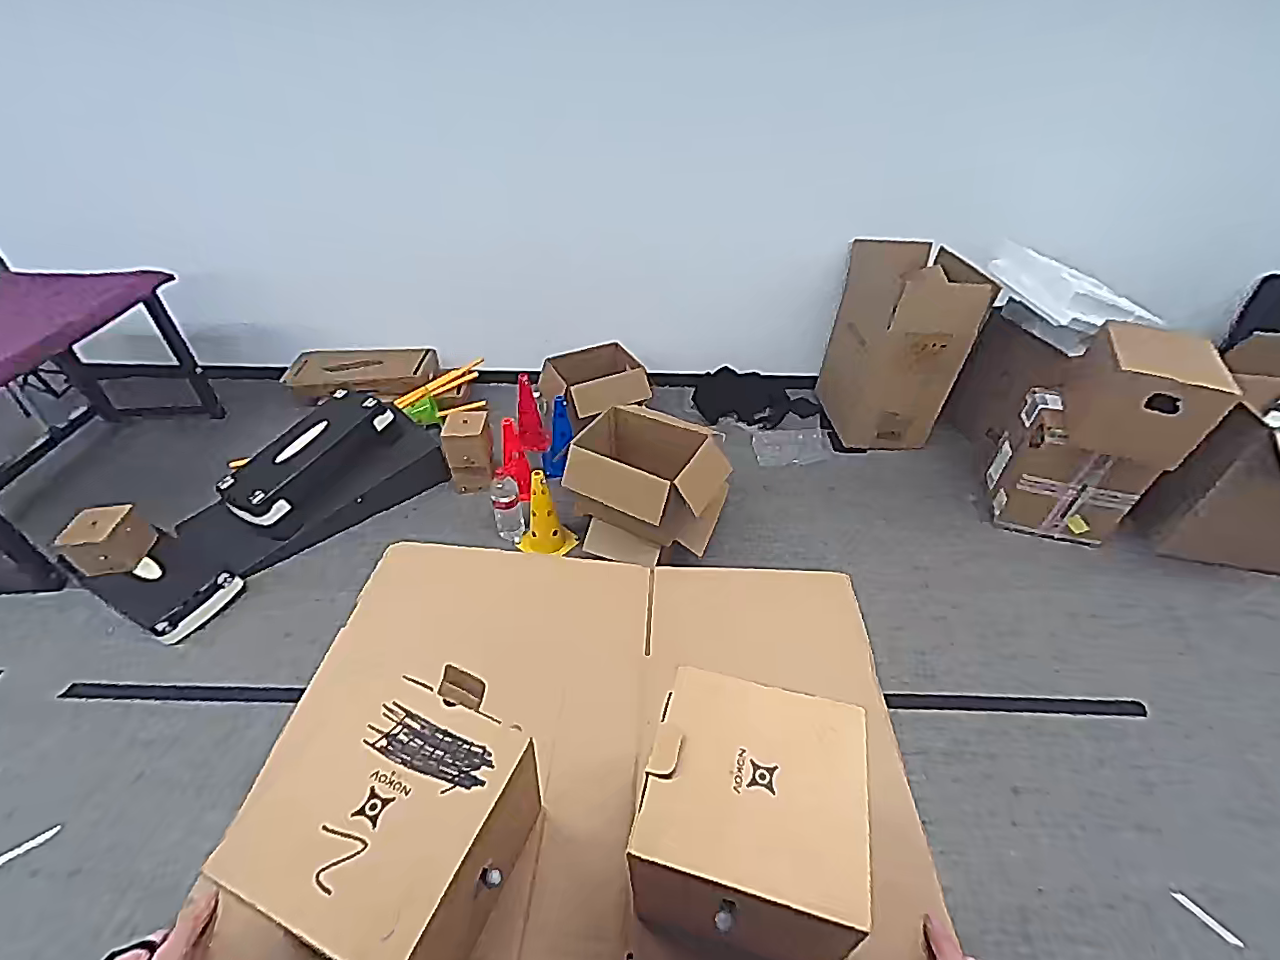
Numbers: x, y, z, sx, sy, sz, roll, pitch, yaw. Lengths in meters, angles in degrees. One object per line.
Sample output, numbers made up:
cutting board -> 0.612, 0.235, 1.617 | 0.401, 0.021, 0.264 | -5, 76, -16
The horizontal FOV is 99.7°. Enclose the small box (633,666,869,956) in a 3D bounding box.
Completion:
small box -> 0.103, 0.308, 0.506 | 0.179, 0.176, 0.168 | 8, 41, 14
